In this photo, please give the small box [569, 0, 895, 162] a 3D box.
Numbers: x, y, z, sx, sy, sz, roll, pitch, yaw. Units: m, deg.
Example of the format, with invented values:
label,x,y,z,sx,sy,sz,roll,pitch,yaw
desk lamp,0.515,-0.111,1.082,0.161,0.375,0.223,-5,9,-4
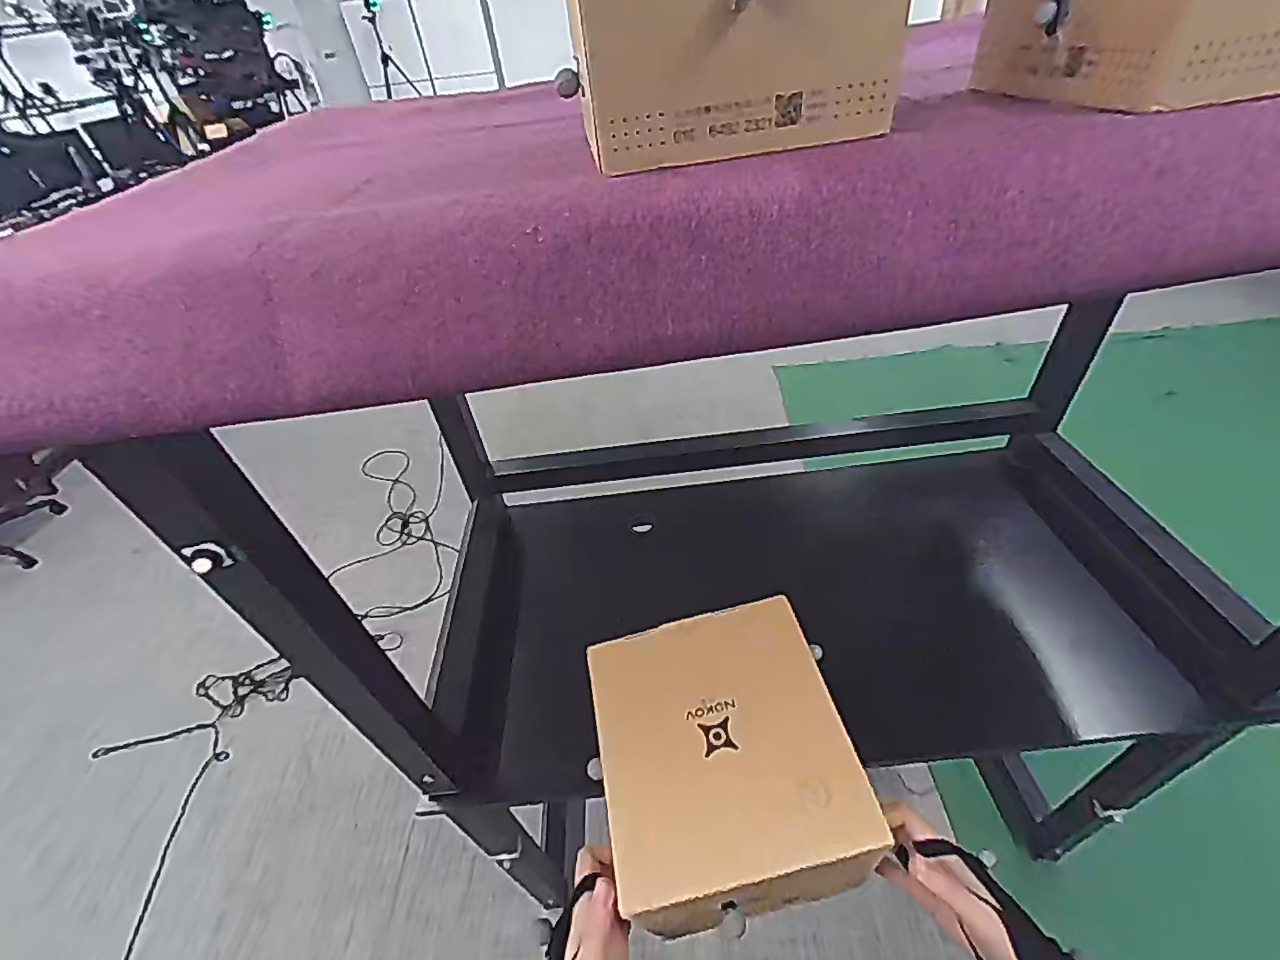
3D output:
label,x,y,z,sx,sy,sz,roll,pitch,yaw
small box,0.040,-0.297,0.313,0.168,0.176,0.179,-9,40,-2
